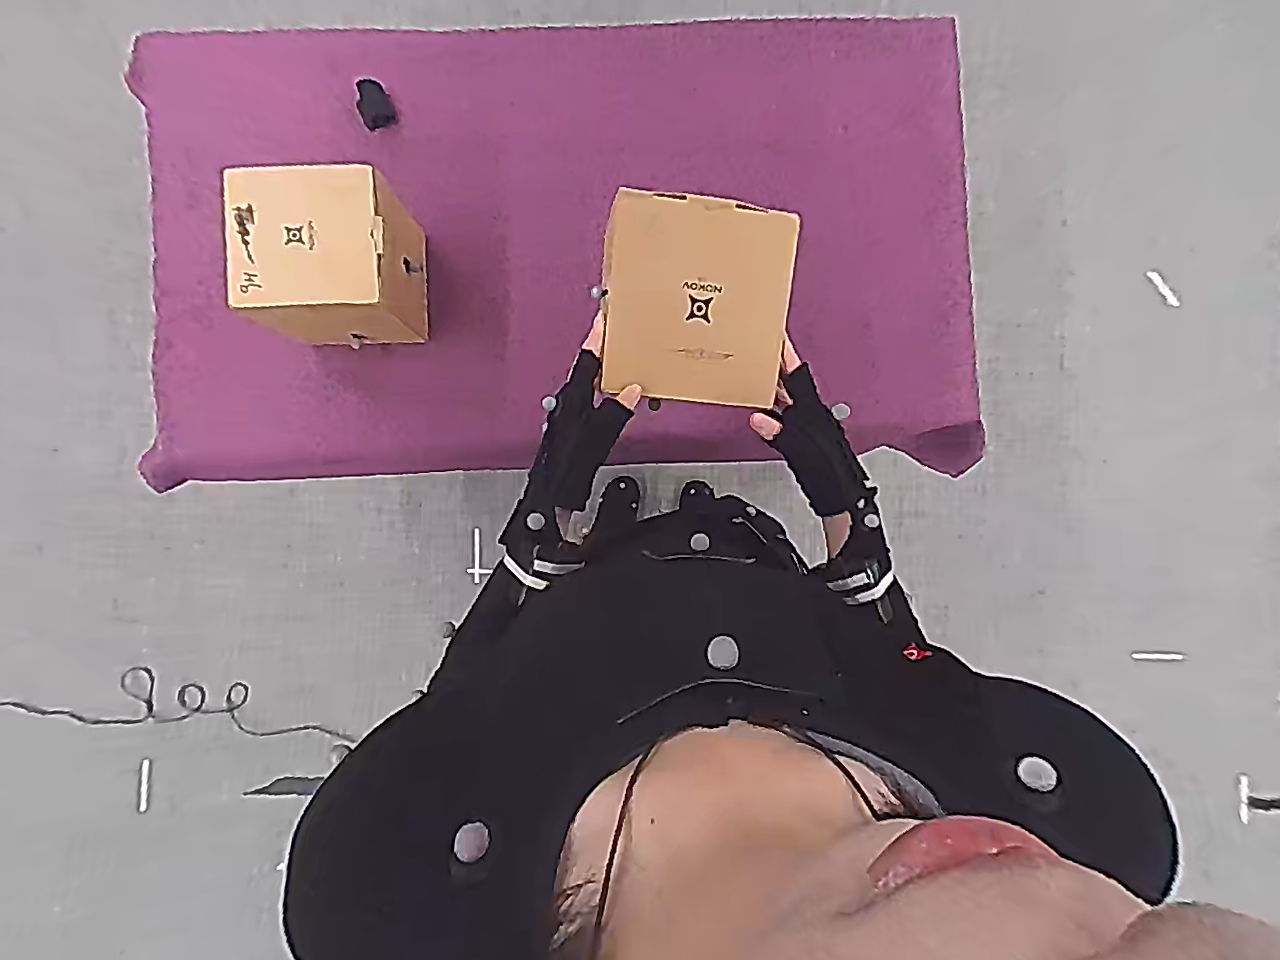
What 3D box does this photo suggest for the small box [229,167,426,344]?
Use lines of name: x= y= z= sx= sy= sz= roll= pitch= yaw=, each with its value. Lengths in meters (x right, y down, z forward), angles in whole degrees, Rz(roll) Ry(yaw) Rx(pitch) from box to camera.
small box: x=-0.392 y=-0.282 z=0.711 sx=0.179 sy=0.176 sz=0.168 roll=-3 pitch=89 yaw=-3

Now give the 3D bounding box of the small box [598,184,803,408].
small box: x=0.047 y=-0.173 z=0.562 sx=0.168 sy=0.176 sz=0.179 roll=6 pitch=99 yaw=-7
